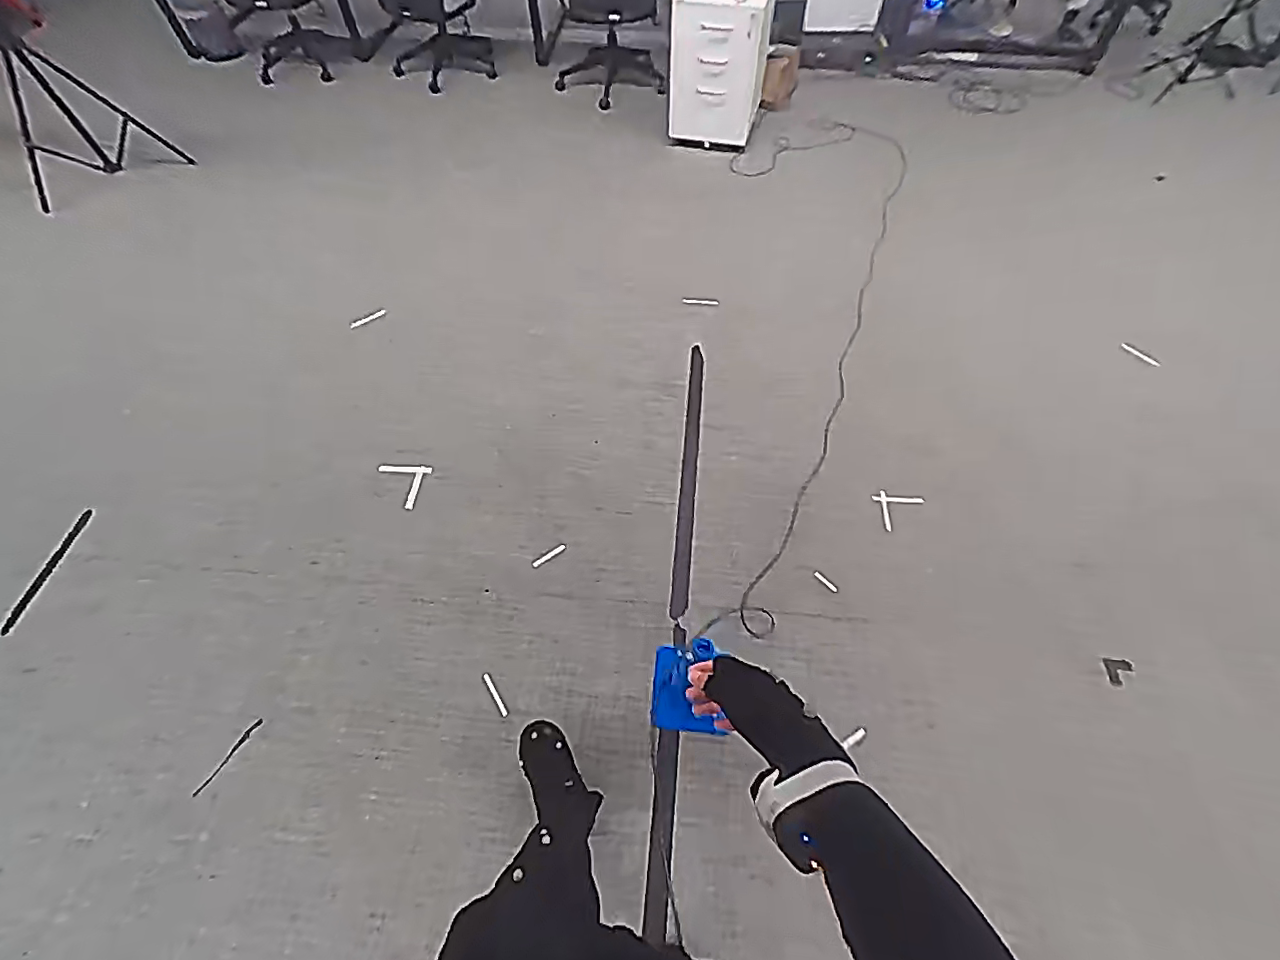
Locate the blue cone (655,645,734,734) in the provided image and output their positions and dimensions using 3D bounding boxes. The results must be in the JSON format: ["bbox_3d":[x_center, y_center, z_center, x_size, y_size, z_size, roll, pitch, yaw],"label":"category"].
[{"bbox_3d":[0.134,0.431,1.204,0.193,0.380,0.192,4,56,3],"label":"blue cone"}]
